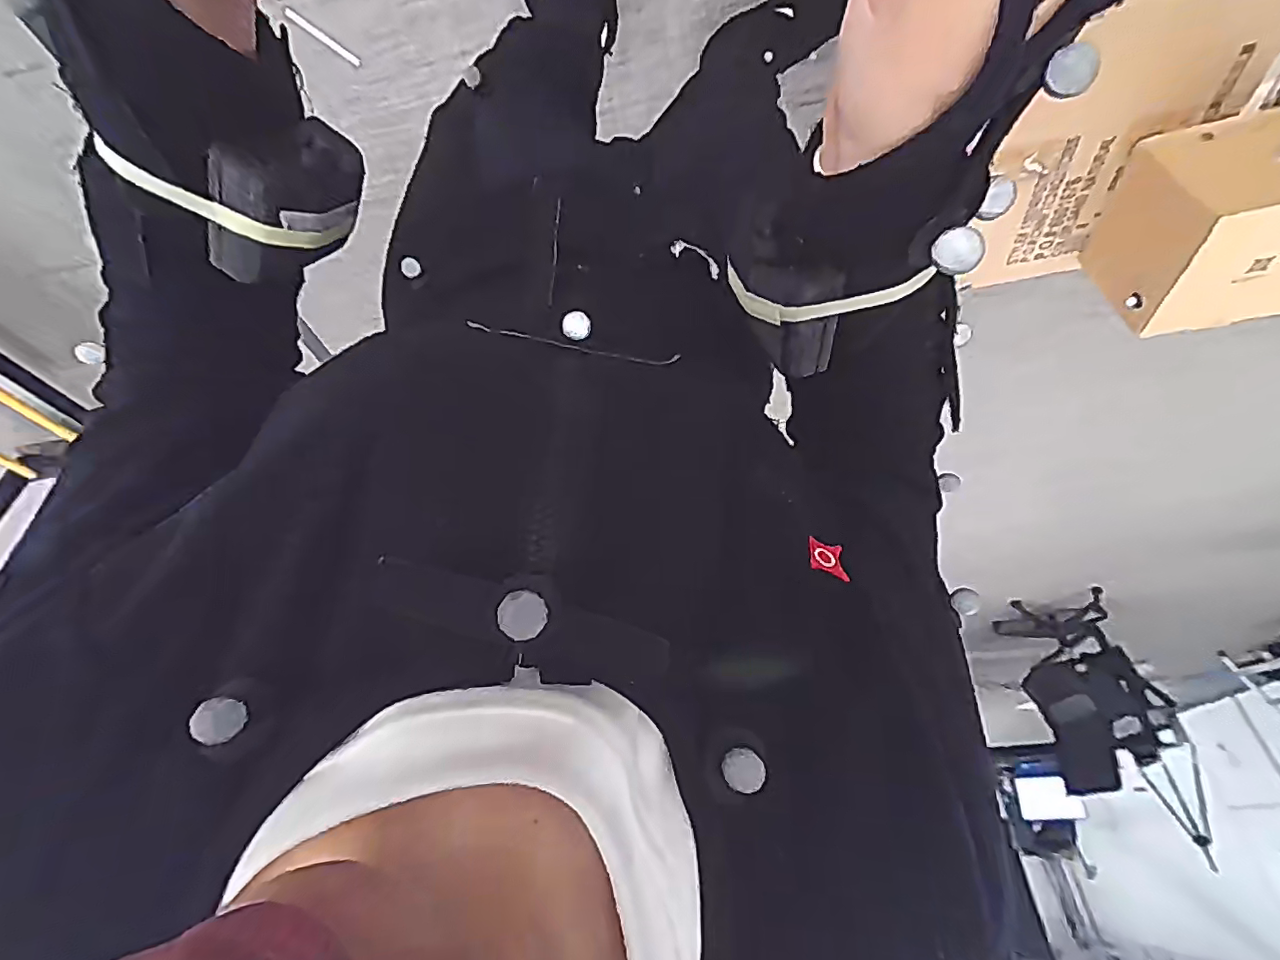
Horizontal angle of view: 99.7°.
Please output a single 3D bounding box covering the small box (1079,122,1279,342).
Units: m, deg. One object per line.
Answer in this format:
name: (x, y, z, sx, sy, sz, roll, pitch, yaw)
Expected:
small box: (0.693, -0.305, 0.665, 0.168, 0.176, 0.179, -9, 147, 12)
